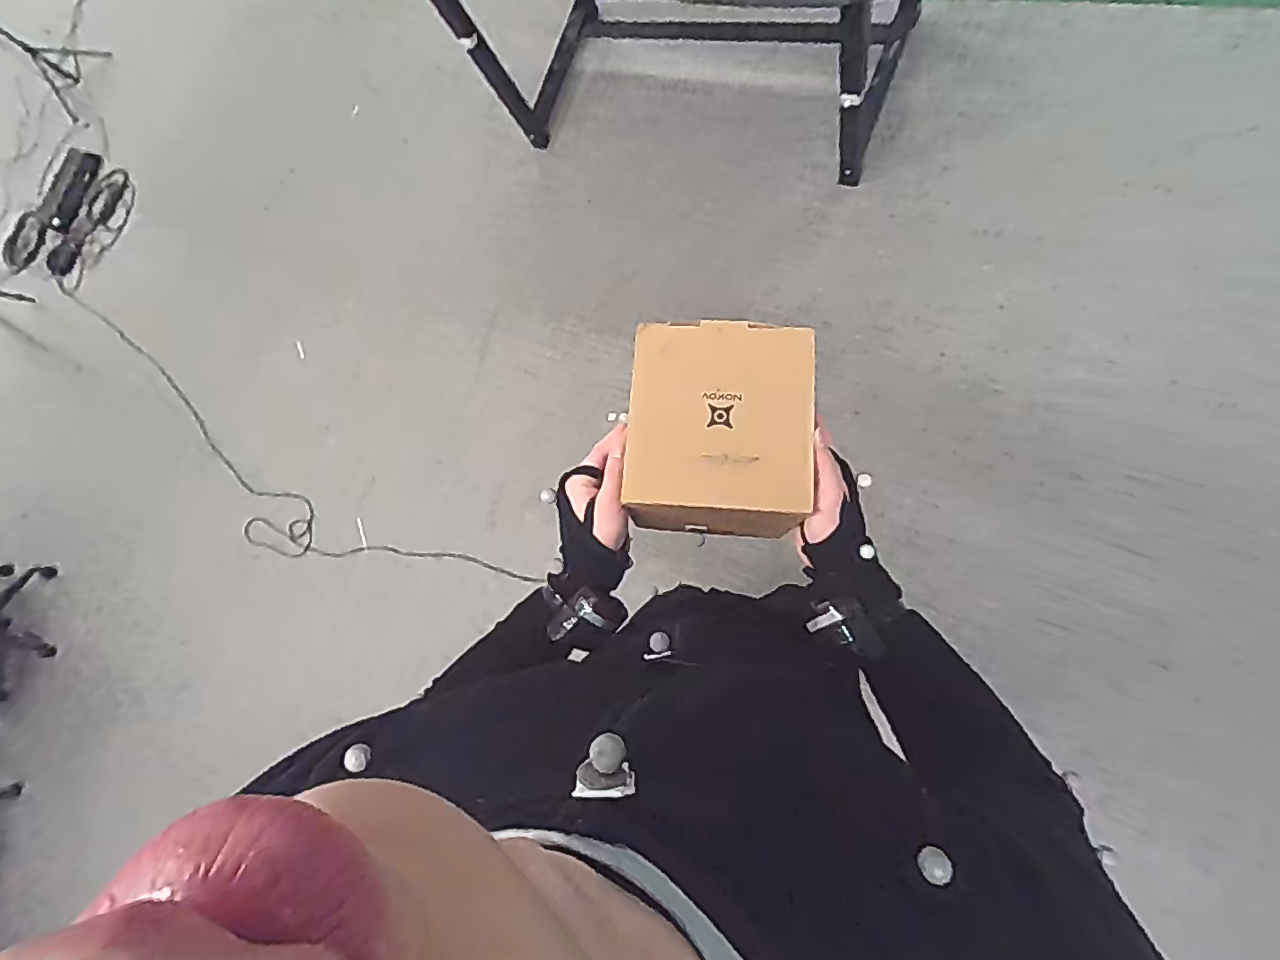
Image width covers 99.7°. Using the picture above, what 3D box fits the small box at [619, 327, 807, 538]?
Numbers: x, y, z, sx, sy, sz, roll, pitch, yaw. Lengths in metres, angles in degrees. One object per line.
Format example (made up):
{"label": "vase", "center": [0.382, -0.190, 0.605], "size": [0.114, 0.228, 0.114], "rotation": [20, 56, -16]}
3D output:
{"label": "small box", "center": [0.073, -0.040, 0.568], "size": [0.168, 0.176, 0.179], "rotation": [3, 78, 5]}
